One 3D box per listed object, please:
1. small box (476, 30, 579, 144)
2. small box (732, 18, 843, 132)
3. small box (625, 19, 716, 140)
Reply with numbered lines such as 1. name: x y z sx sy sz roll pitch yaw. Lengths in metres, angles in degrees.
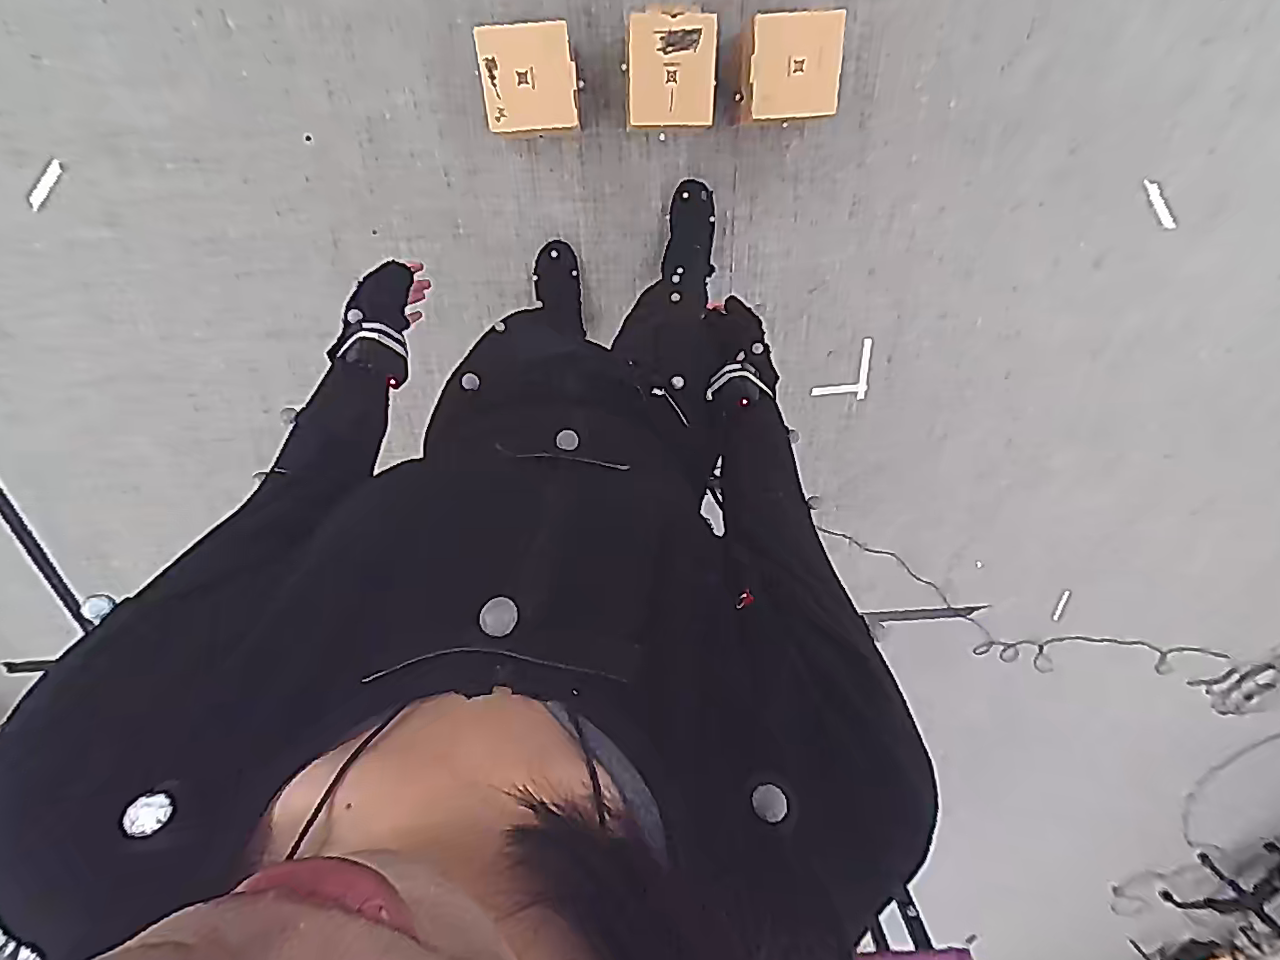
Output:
1. small box: -0.219 -0.789 1.099 0.179 0.176 0.168 -5 118 -2
2. small box: 0.292 -0.826 1.116 0.179 0.176 0.168 -5 120 -3
3. small box: 0.054 -0.809 1.106 0.168 0.176 0.179 -2 119 -3
